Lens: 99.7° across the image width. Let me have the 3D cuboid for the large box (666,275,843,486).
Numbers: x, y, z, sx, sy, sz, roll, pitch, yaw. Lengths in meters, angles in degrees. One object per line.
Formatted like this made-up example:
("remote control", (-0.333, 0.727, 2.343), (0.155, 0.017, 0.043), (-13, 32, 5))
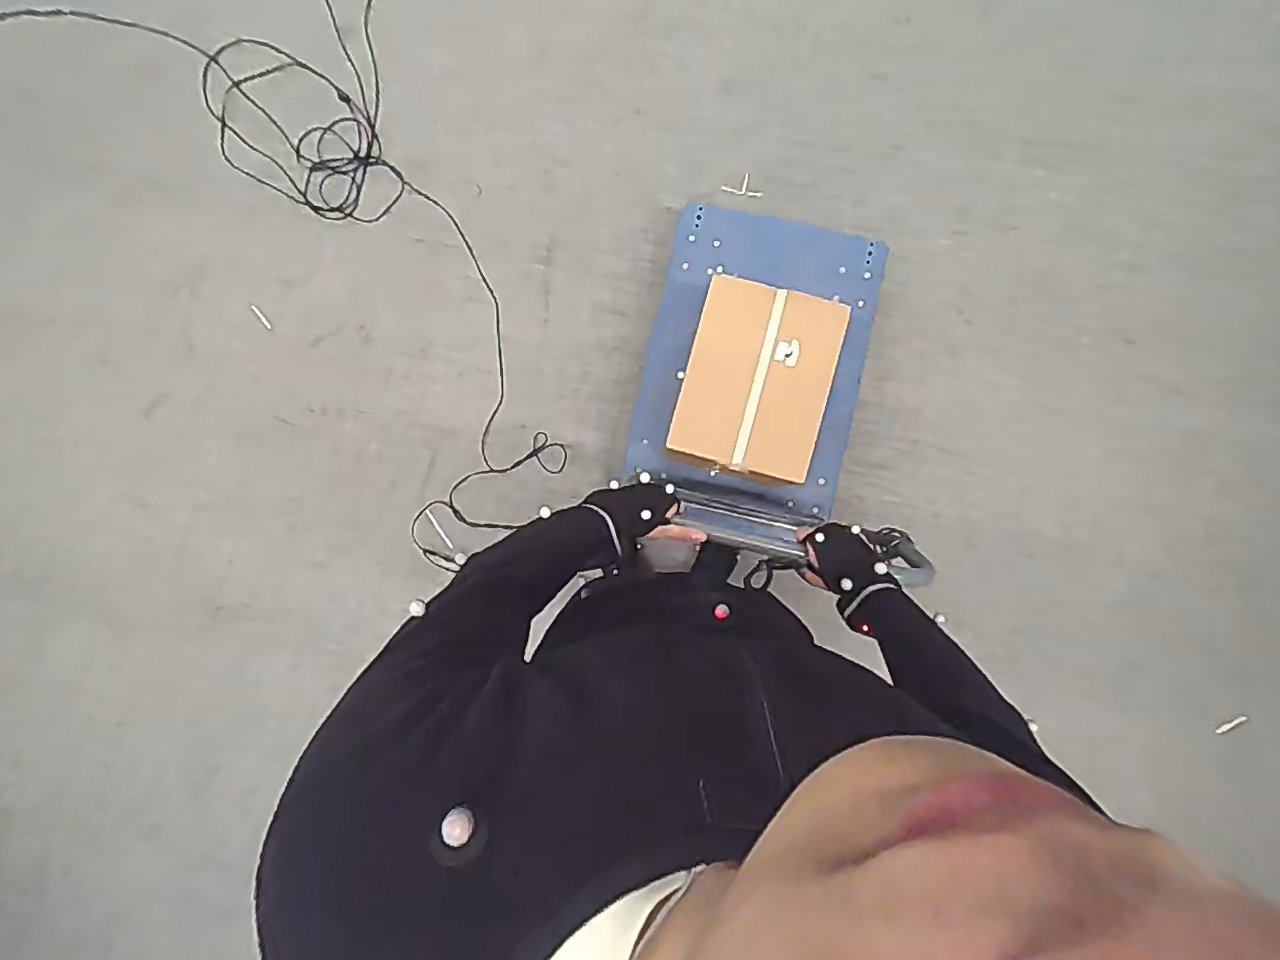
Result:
("large box", (0.256, -0.217, 1.328), (0.320, 0.320, 0.408), (15, 88, 2))
